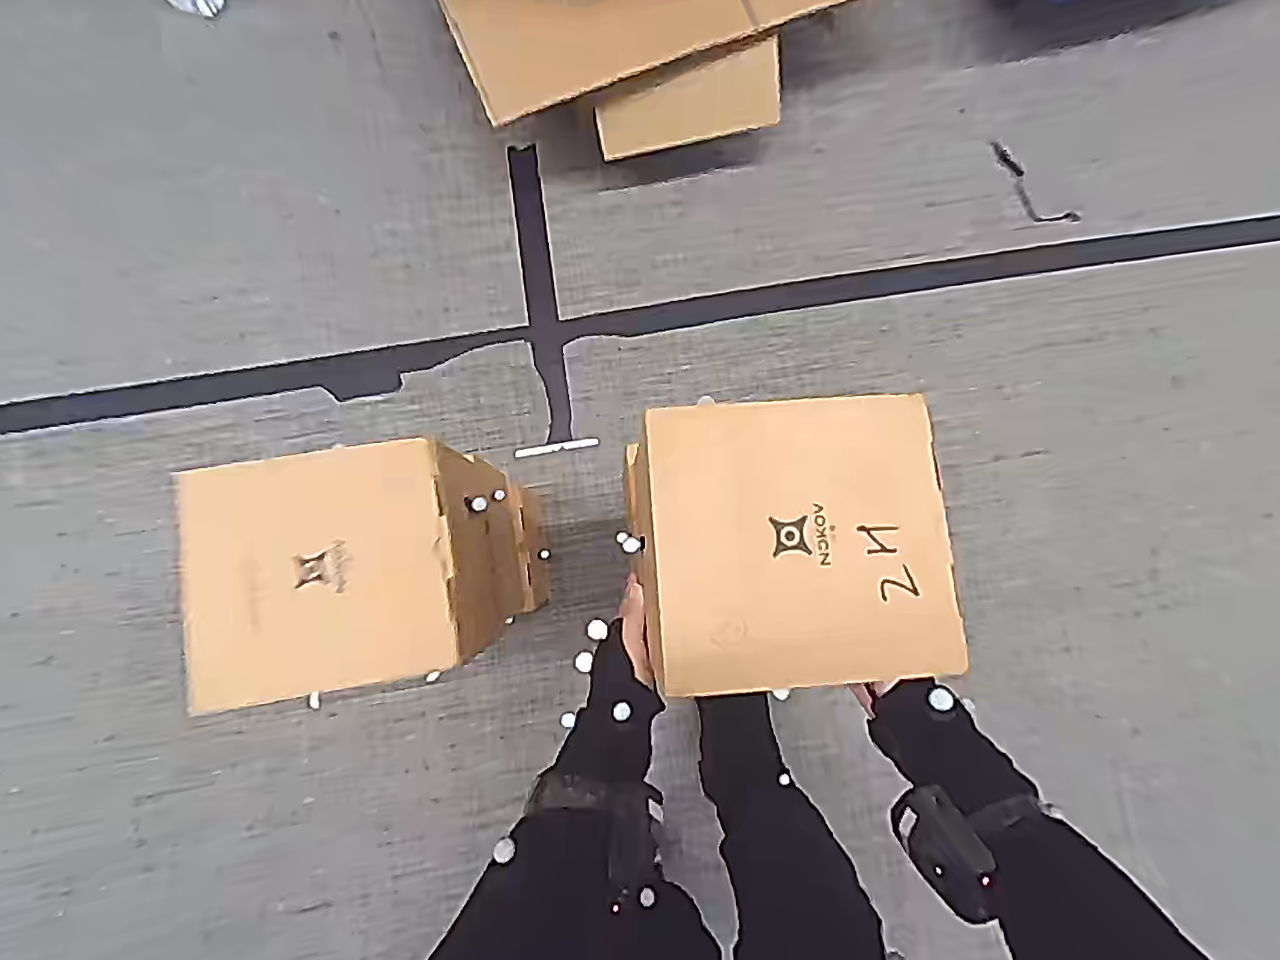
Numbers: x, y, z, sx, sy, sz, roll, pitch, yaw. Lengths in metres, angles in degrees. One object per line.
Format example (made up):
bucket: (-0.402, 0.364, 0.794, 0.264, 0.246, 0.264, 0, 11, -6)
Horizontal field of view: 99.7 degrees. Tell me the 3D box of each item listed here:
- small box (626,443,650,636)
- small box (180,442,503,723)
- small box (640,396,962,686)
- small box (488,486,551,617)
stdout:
small box: (0.075, 0.058, 0.563, 0.168, 0.176, 0.179, -6, 80, -4)
small box: (-0.217, 0.075, 0.442, 0.179, 0.176, 0.168, -10, 82, -4)
small box: (0.091, 0.046, 0.398, 0.179, 0.176, 0.168, -4, 81, -4)
small box: (-0.231, 0.108, 0.767, 0.179, 0.176, 0.168, -8, 84, -4)
